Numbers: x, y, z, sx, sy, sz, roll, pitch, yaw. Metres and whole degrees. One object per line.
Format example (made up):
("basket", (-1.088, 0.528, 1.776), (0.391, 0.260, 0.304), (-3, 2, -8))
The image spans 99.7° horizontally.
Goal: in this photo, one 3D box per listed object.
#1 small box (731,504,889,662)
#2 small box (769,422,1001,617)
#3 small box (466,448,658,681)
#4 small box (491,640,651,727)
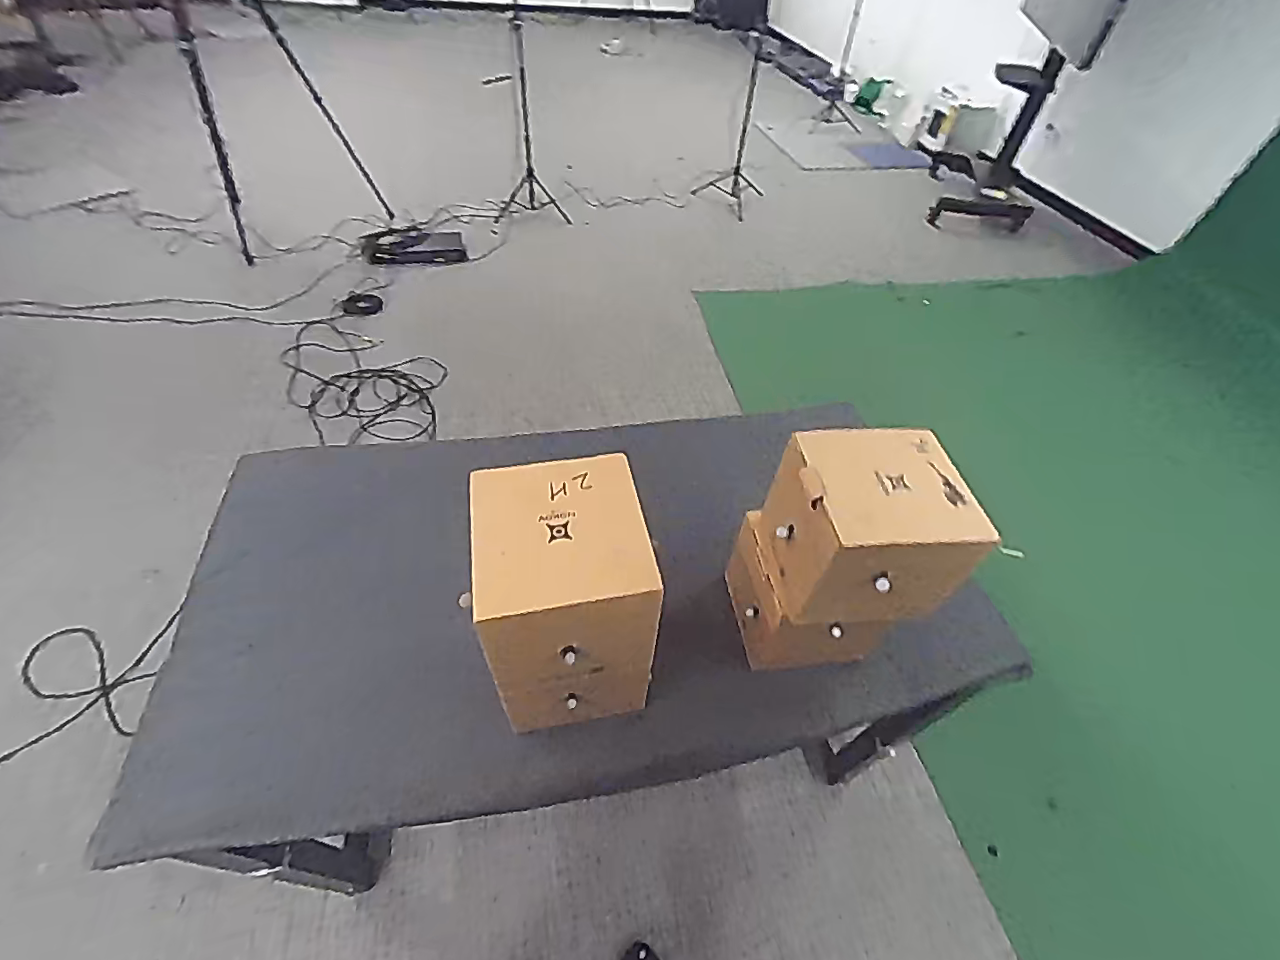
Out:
("small box", (0.237, 0.146, 0.769), (0.179, 0.176, 0.168), (-3, 50, -9))
("small box", (0.262, 0.049, 0.637), (0.179, 0.176, 0.168), (-2, 49, -6))
("small box", (-0.082, 0.093, 0.566), (0.168, 0.176, 0.179), (-7, 49, -11))
("small box", (-0.090, 0.196, 0.695), (0.179, 0.176, 0.168), (-7, 49, -9))
